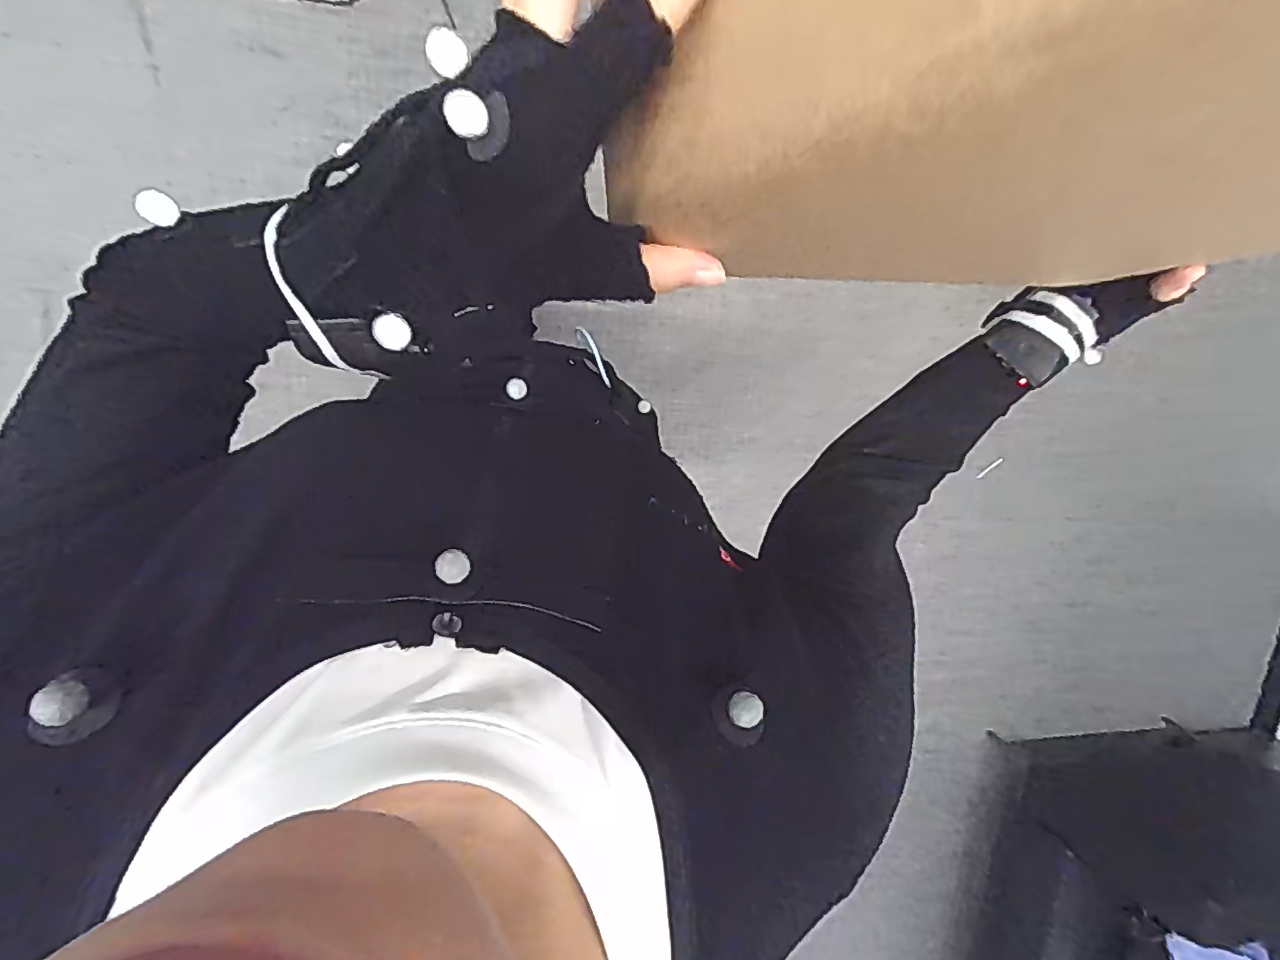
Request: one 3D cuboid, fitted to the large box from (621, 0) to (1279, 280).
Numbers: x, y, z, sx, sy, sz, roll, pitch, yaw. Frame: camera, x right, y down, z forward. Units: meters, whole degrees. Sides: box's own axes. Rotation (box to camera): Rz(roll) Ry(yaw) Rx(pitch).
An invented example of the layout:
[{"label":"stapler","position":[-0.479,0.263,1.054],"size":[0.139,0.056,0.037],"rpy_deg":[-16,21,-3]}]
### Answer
[{"label":"large box","position":[0.228,-0.259,0.184],"size":[0.408,0.320,0.320],"rpy_deg":[-10,103,-27]}]
